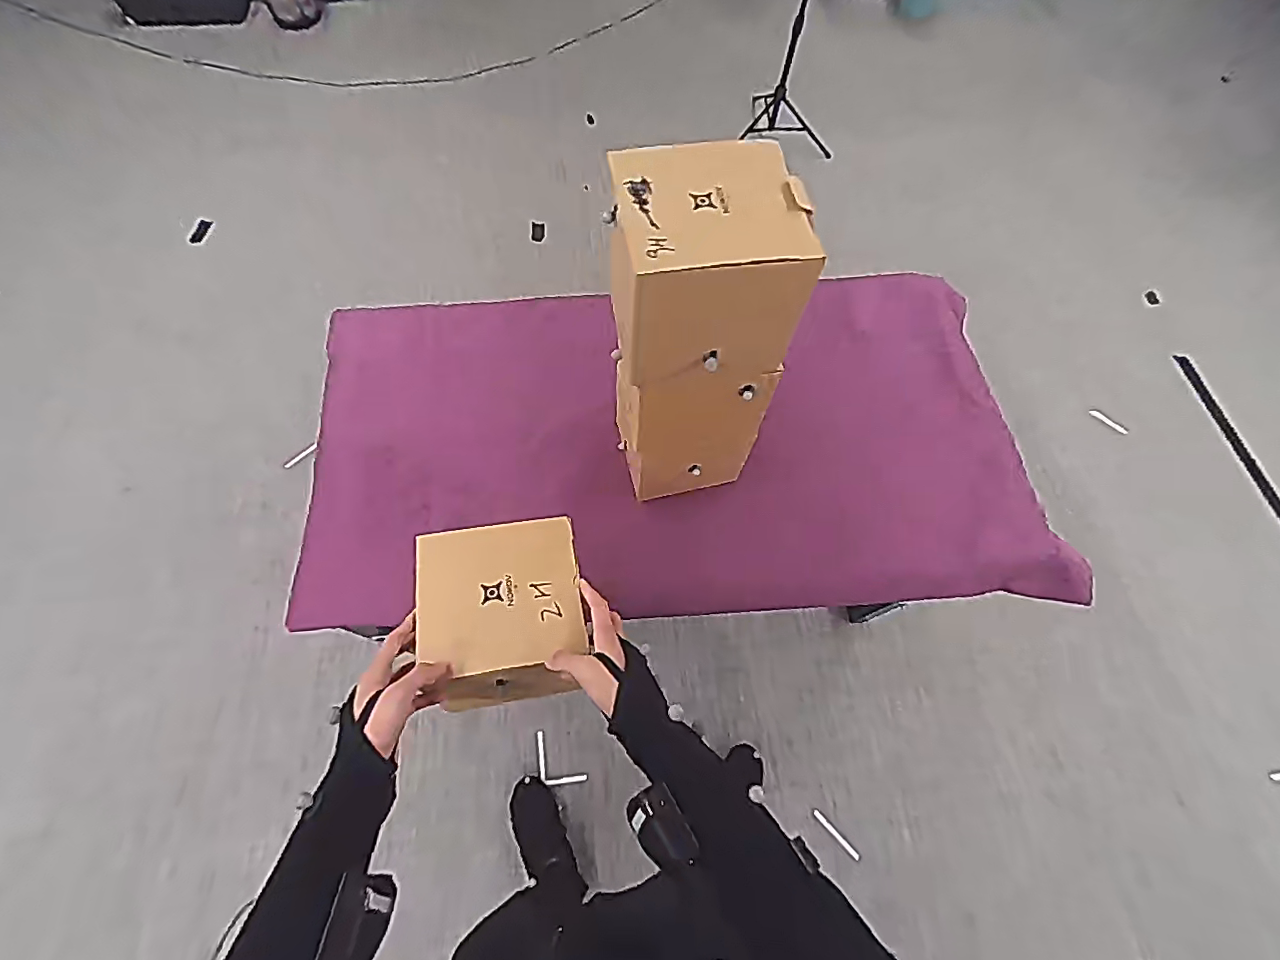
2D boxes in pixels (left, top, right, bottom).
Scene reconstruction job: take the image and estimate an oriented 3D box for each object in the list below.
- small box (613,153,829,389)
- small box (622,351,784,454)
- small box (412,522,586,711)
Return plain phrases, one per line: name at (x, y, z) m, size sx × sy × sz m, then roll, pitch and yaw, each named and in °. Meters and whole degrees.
small box at (0.068, -0.215, 0.577) m, size 0.179 × 0.176 × 0.168 m, roll -7°, pitch 64°, yaw -7°
small box at (0.070, -0.148, 0.727) m, size 0.179 × 0.176 × 0.168 m, roll -7°, pitch 65°, yaw -6°
small box at (-0.161, 0.169, 0.651) m, size 0.179 × 0.176 × 0.168 m, roll -6°, pitch 59°, yaw -11°
